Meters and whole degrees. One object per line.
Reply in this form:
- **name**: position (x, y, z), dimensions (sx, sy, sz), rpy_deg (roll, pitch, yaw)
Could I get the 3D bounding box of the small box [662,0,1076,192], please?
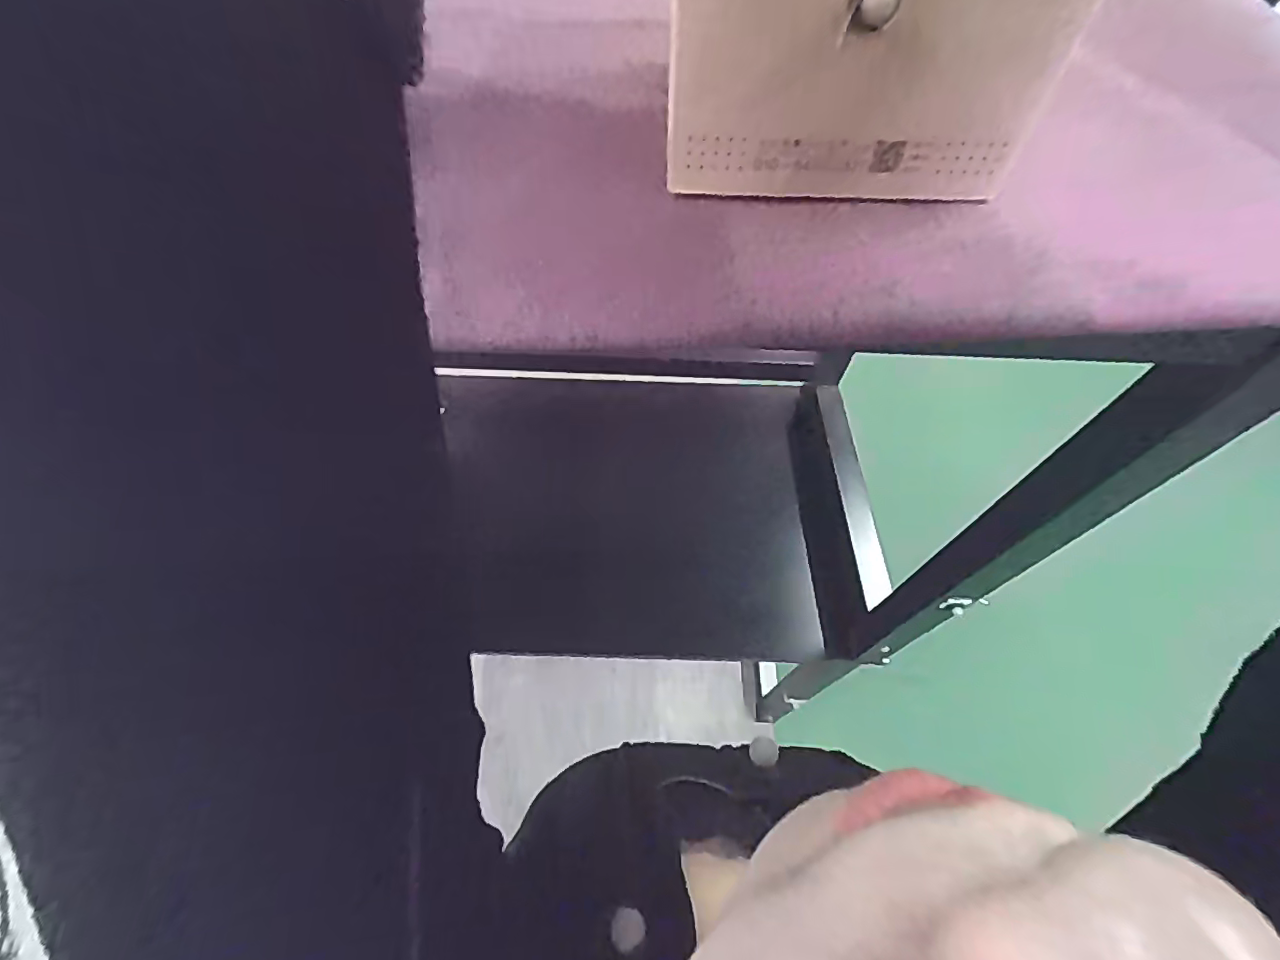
- **small box**: position (0.098, -0.260, 0.254), dimensions (0.168, 0.176, 0.179), rpy_deg (3, 56, 1)
